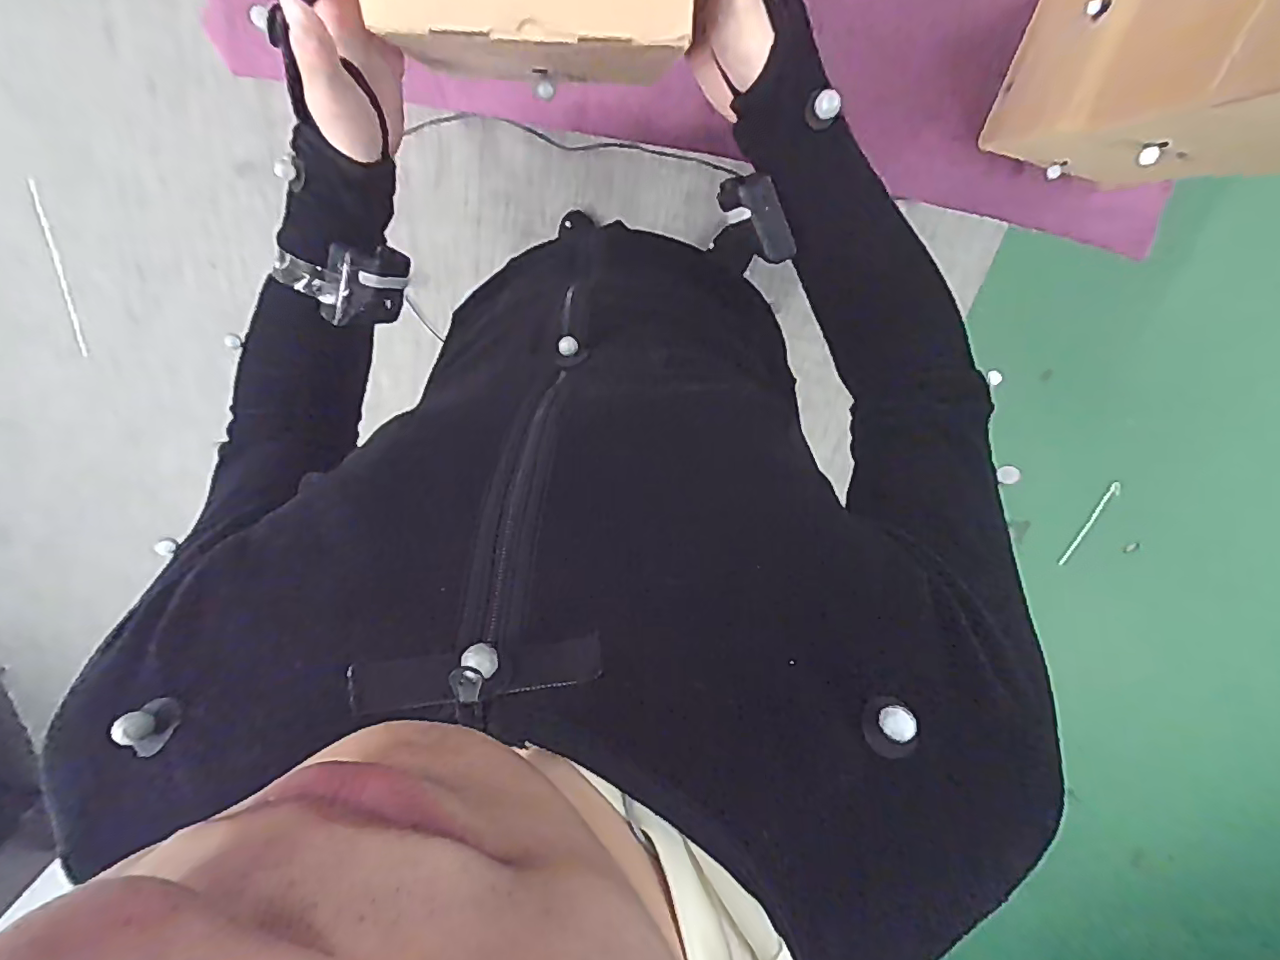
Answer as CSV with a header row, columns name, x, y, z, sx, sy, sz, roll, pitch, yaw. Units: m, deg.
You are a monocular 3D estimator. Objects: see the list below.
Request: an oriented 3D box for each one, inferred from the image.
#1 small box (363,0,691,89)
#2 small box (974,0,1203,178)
name,x,y,z,sx,sy,sz,roll,pitch,yaw
small box,-0.060,-0.342,0.305,0.168,0.176,0.179,-1,121,-5
small box,0.514,-0.436,0.580,0.179,0.176,0.168,14,115,-4
